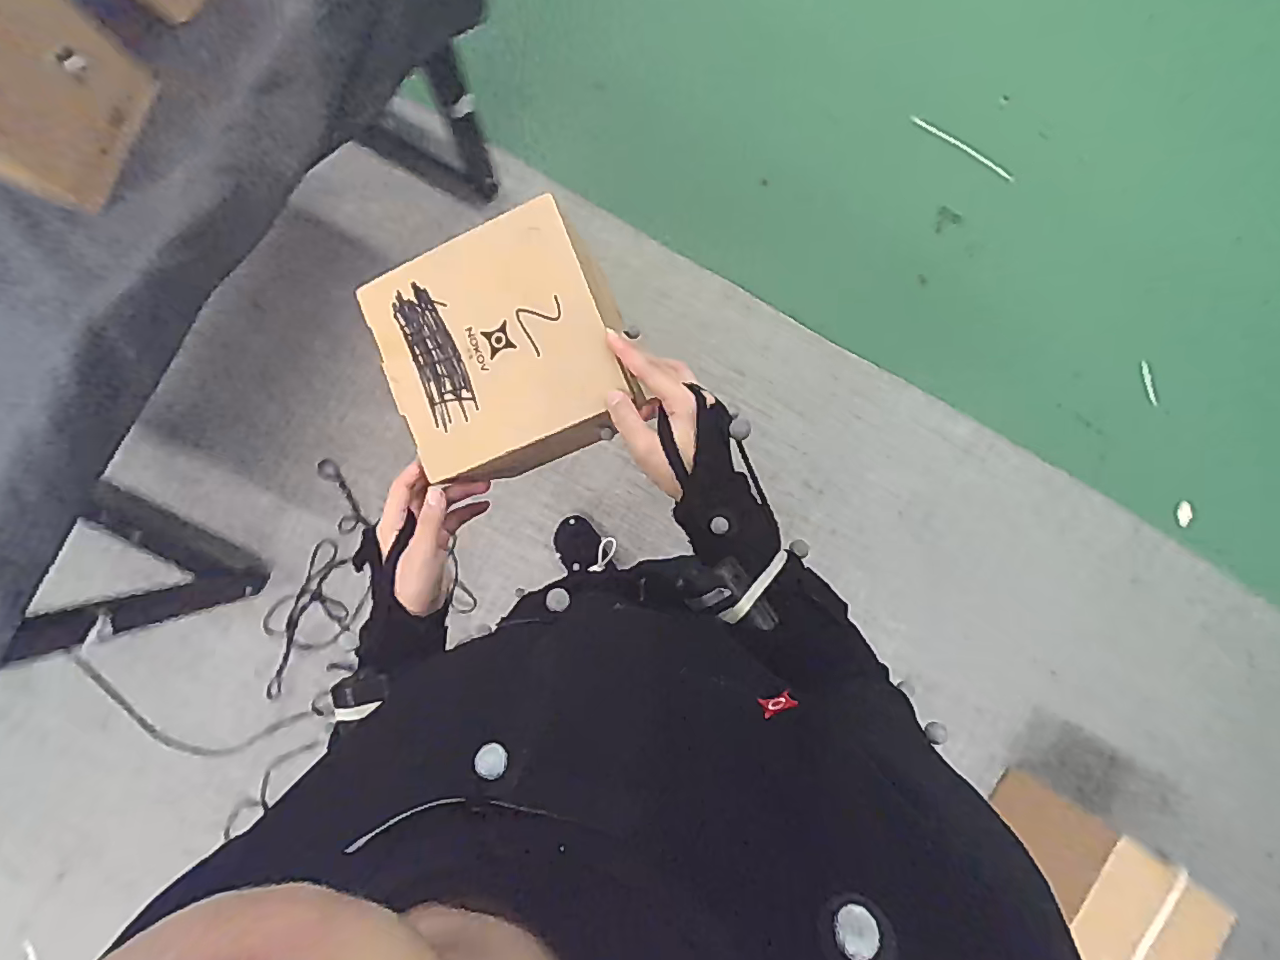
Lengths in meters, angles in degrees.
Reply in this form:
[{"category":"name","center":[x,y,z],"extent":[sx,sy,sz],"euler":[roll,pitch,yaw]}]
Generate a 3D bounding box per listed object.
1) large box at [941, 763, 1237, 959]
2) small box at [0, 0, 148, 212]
[{"category":"large box","center":[1.010,0.974,1.261],"extent":[0.320,0.320,0.408],"euler":[33,87,-2]},{"category":"small box","center":[-0.655,-0.398,0.529],"extent":[0.179,0.176,0.168],"euler":[20,85,-2]}]
